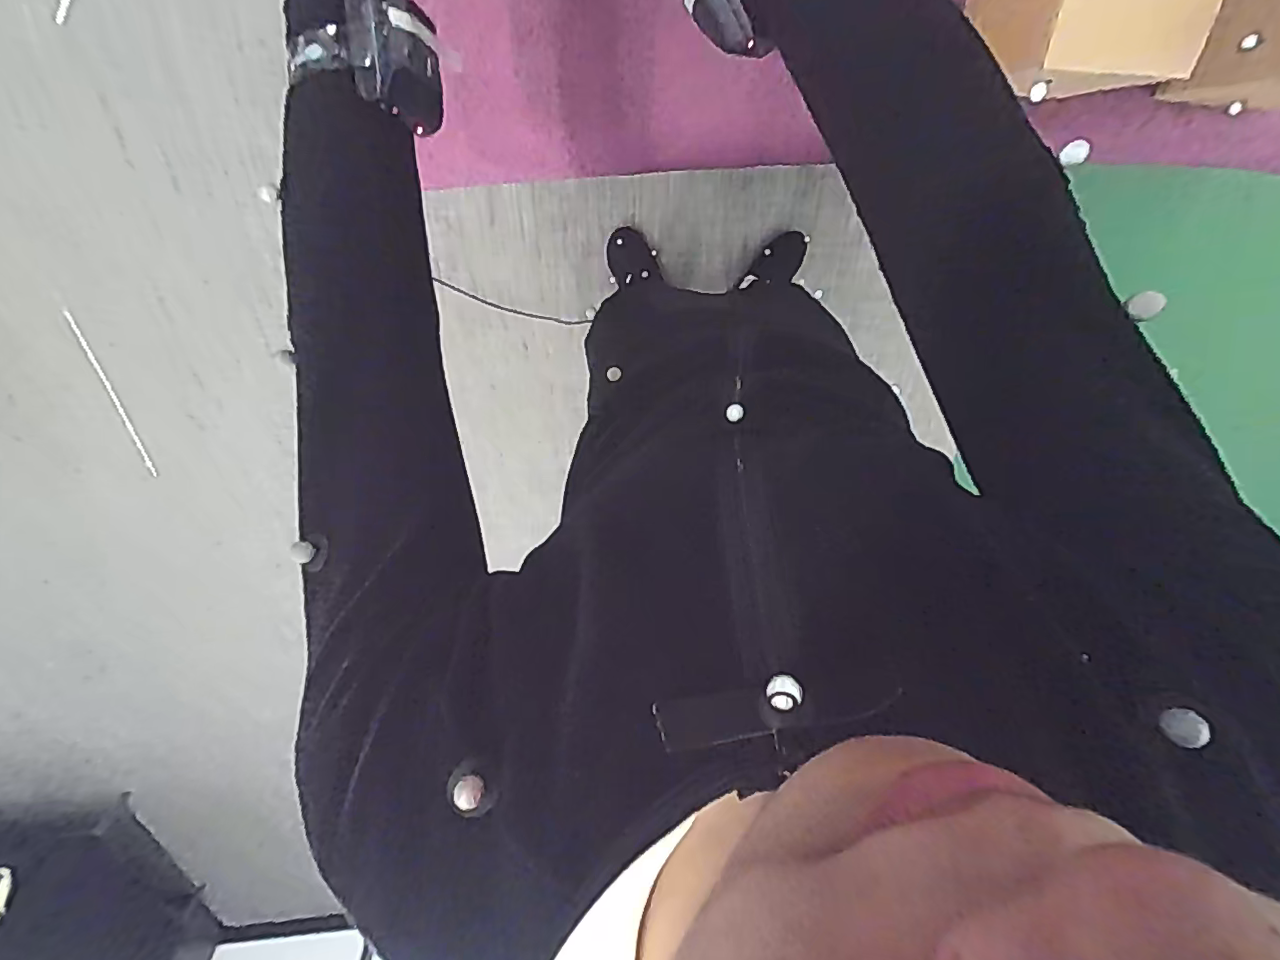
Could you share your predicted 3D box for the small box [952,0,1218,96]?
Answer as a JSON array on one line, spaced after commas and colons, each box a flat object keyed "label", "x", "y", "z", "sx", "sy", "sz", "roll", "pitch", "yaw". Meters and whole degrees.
[{"label": "small box", "x": 0.466, "y": -0.521, "z": 0.568, "sx": 0.168, "sy": 0.176, "sz": 0.179, "roll": -1, "pitch": 118, "yaw": -5}]
